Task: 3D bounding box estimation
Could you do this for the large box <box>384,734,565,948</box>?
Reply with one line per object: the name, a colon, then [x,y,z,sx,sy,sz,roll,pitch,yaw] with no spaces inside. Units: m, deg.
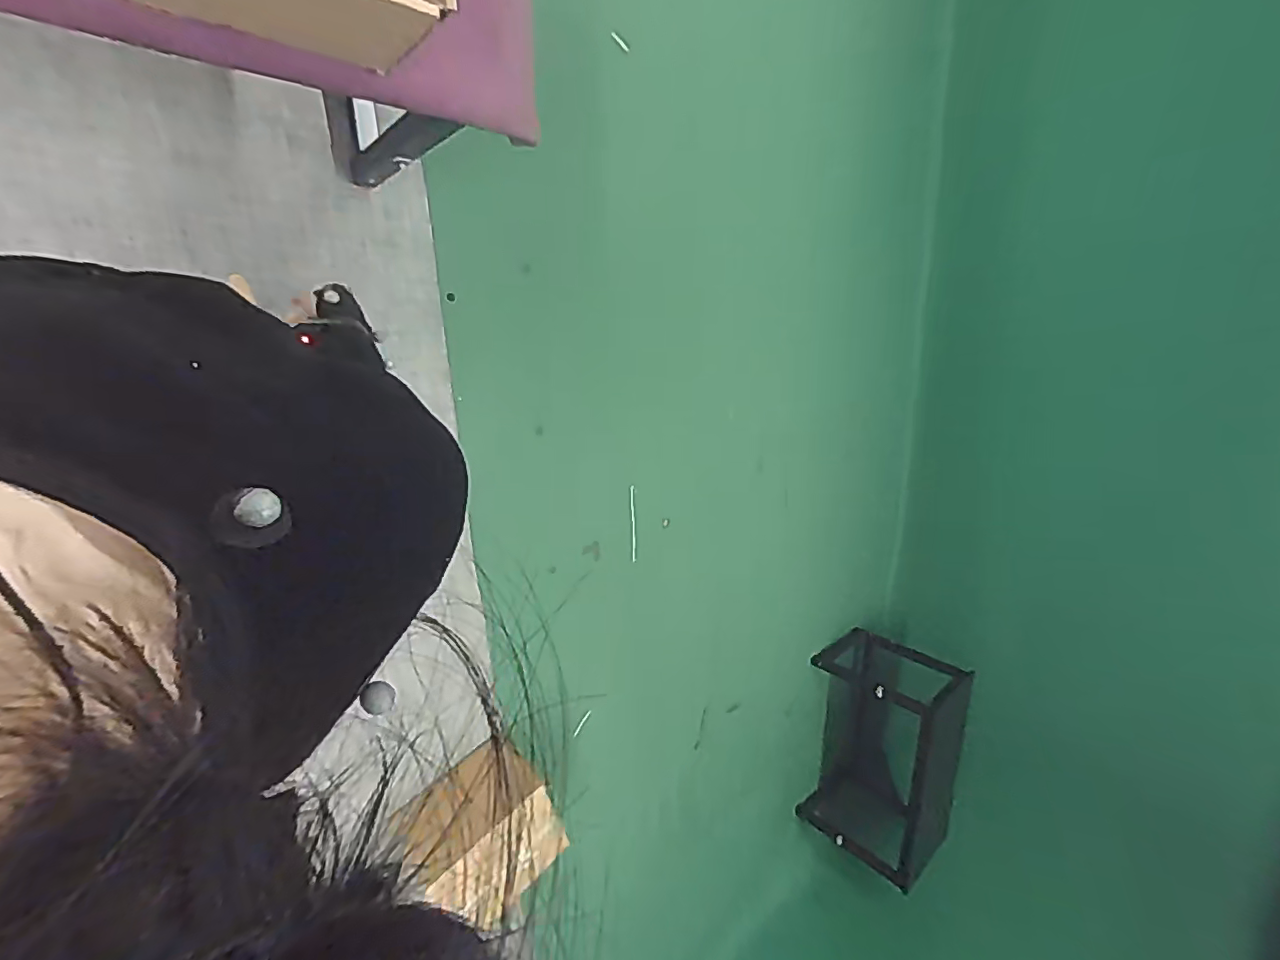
large box: [-0.521,1.123,1.726,0.408,0.320,0.320,-32,121,-34]
